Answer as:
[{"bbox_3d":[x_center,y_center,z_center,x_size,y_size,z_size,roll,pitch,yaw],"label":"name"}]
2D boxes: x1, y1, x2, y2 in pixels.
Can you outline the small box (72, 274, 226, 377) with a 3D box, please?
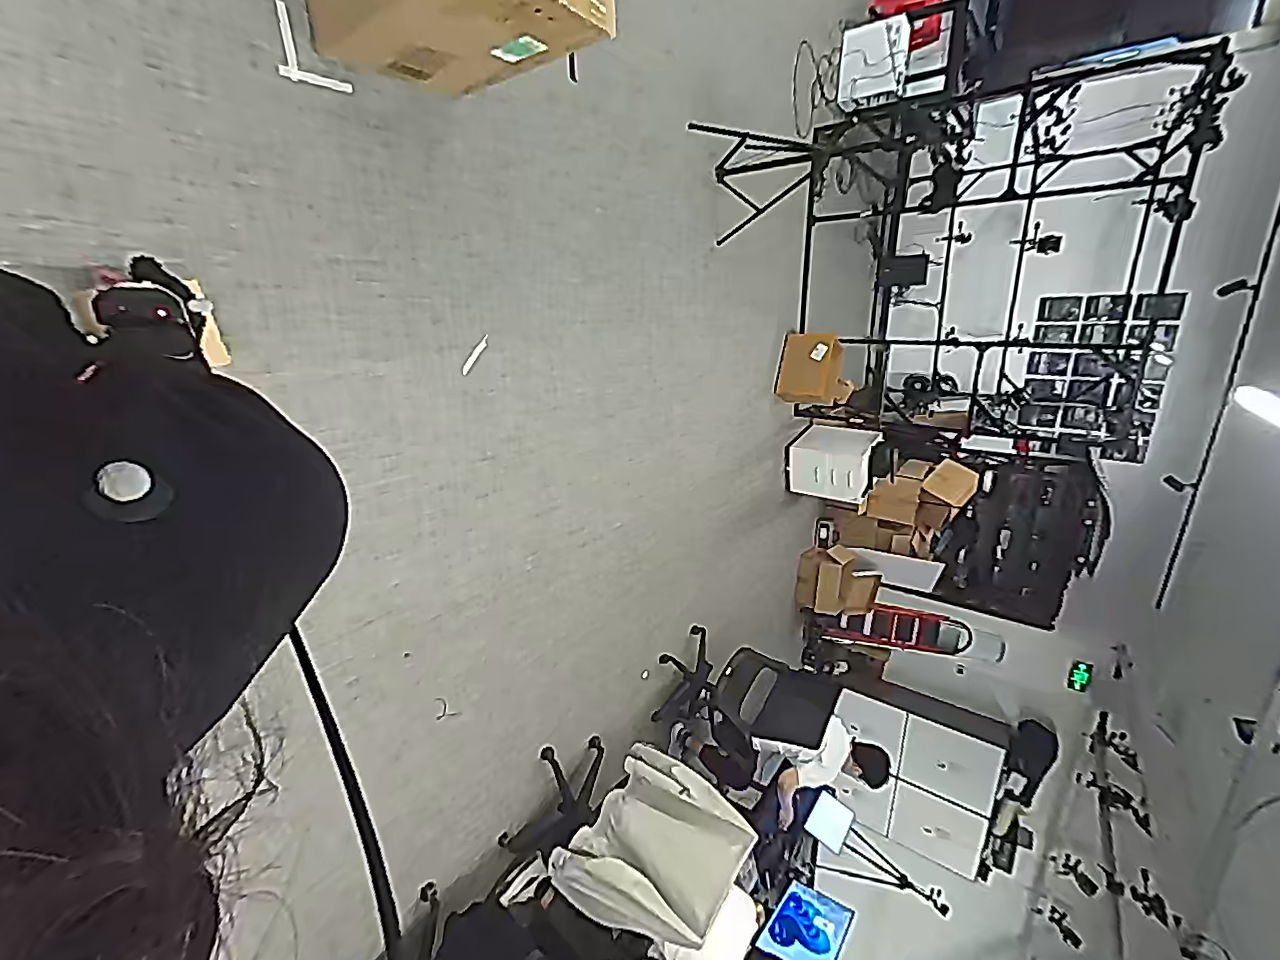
[{"bbox_3d":[-0.992,-0.318,1.097,0.168,0.176,0.179,-33,126,-46],"label":"small box"}]
